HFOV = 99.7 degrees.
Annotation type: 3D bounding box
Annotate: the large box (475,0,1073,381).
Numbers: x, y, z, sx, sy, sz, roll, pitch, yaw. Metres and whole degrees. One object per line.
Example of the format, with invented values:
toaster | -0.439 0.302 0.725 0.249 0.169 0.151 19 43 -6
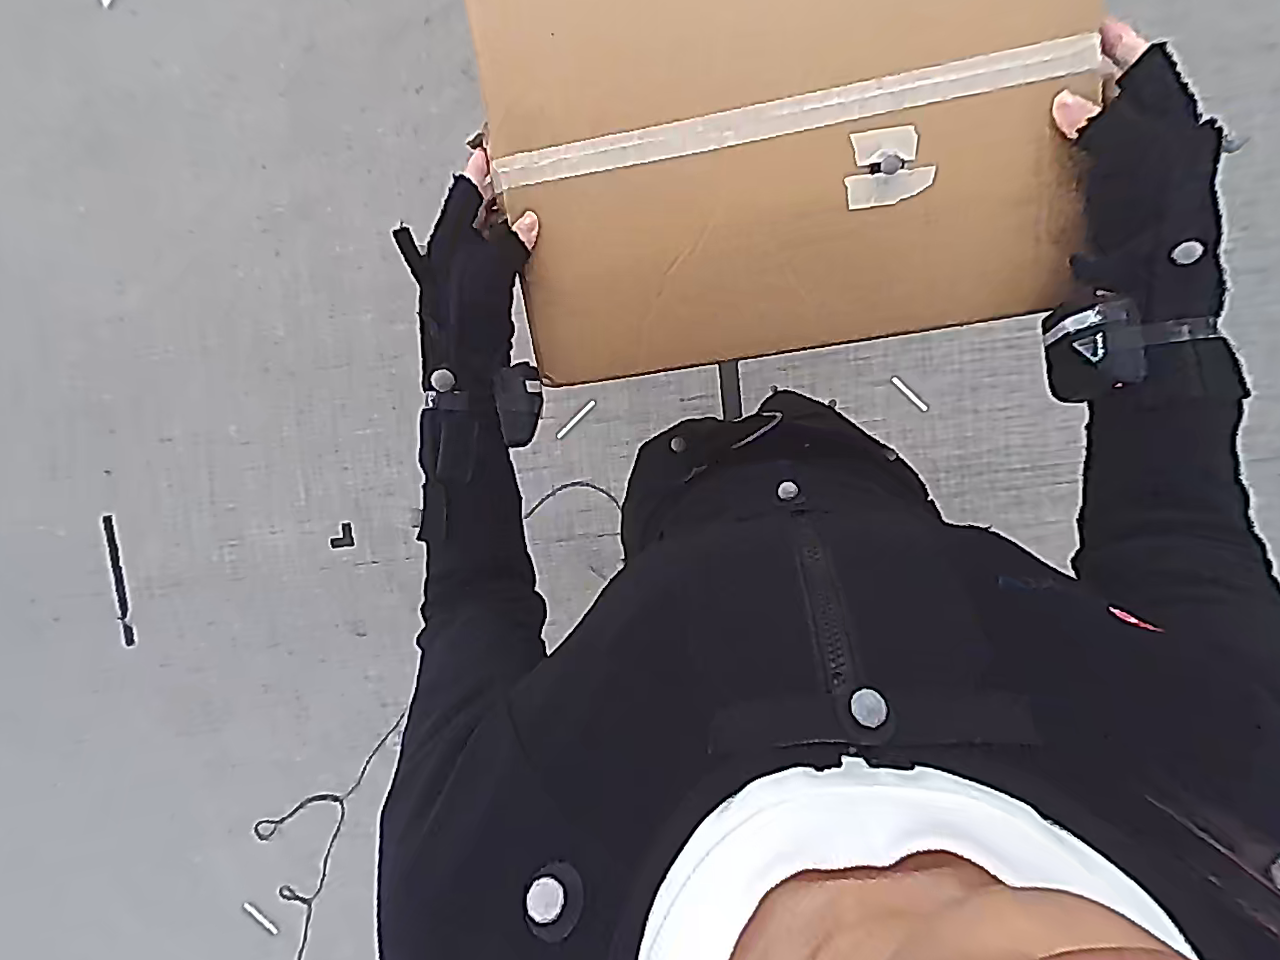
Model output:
large box | 0.106 -0.290 0.533 0.408 0.320 0.320 -8 104 6
